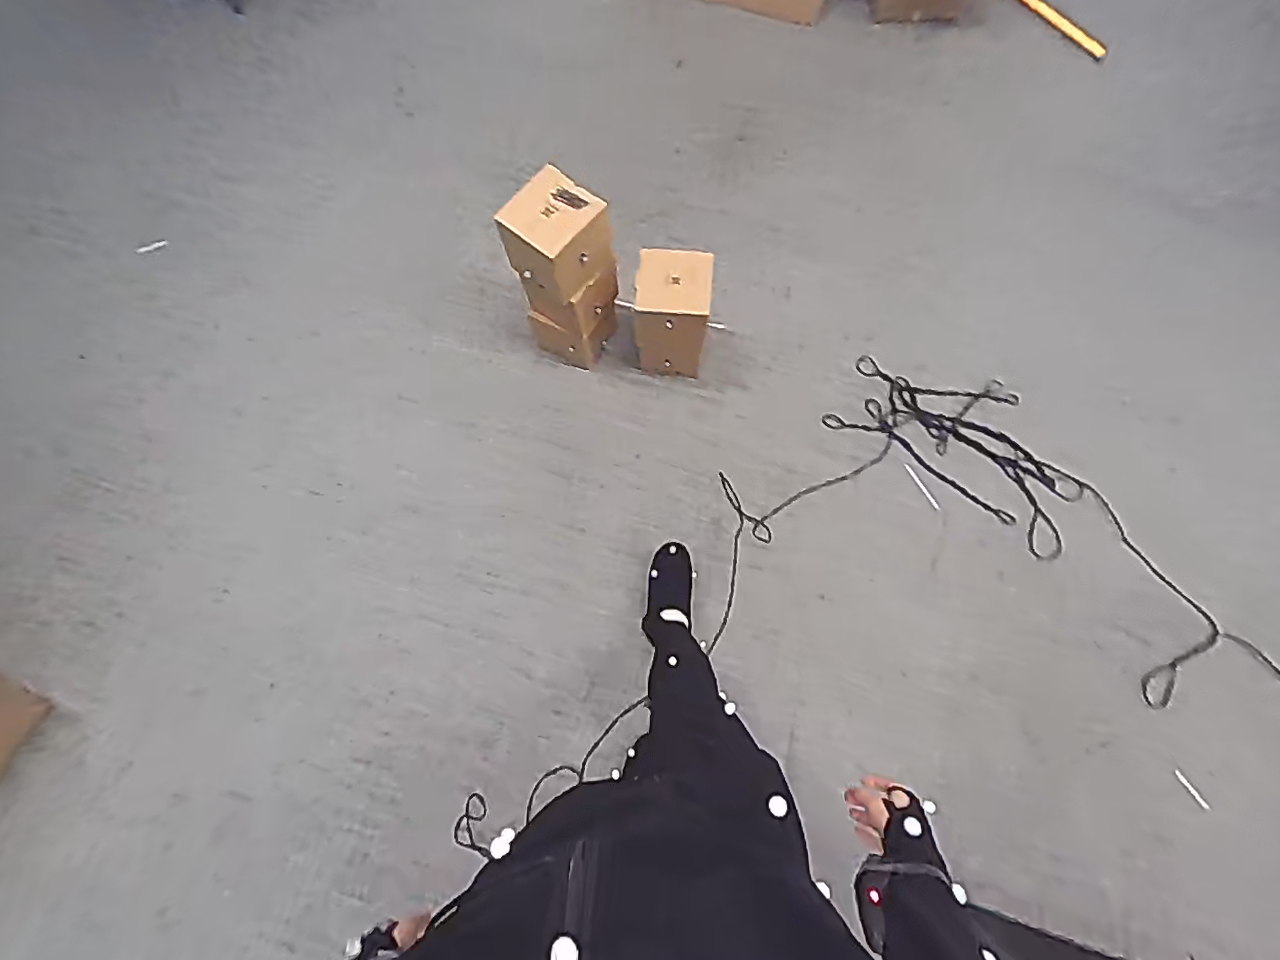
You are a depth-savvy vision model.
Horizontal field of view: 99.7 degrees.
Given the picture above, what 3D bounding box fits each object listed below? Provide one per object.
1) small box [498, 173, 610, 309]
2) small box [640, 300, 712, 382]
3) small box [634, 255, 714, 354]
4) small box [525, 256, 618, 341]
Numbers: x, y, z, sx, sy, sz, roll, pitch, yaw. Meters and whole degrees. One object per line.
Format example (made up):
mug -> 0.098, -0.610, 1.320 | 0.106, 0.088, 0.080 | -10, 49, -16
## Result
small box -> -0.180, -0.521, 1.194 | 0.168, 0.176, 0.179 | 38, 79, 11
small box -> 0.099, -0.389, 1.484 | 0.168, 0.176, 0.179 | 9, 74, 4
small box -> 0.083, -0.424, 1.325 | 0.179, 0.176, 0.168 | 5, 75, 4
small box -> -0.171, -0.481, 1.353 | 0.179, 0.176, 0.168 | 33, 77, 10
